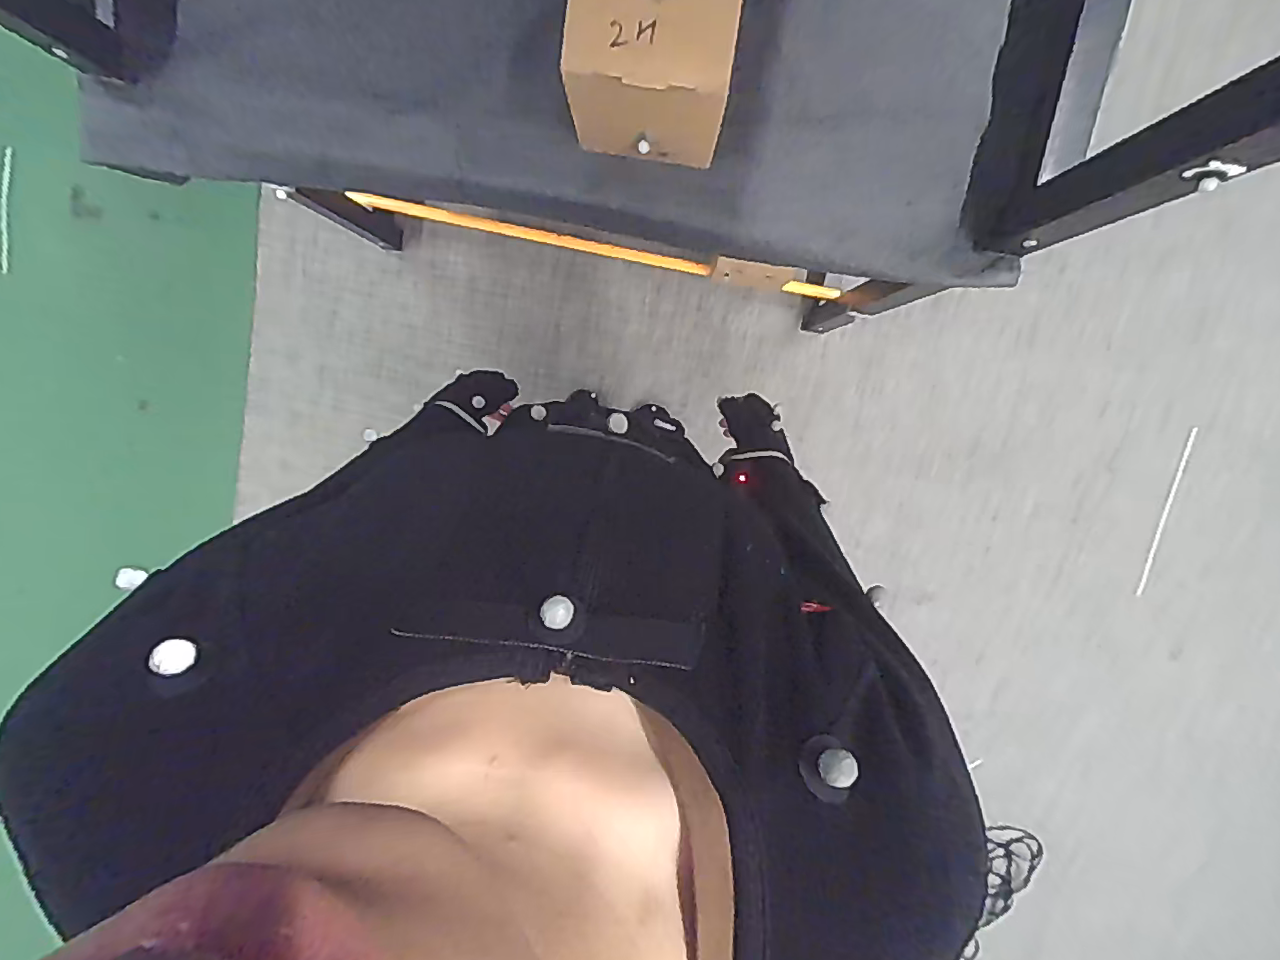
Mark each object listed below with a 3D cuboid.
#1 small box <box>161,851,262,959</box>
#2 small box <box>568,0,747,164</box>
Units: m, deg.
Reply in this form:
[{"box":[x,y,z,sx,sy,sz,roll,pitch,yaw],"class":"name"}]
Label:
[{"box":[-1.268,1.261,1.610,0.168,0.176,0.179,13,98,-2],"class":"small box"},{"box":[0.023,-0.485,0.591,0.168,0.176,0.179,9,98,0],"class":"small box"}]
